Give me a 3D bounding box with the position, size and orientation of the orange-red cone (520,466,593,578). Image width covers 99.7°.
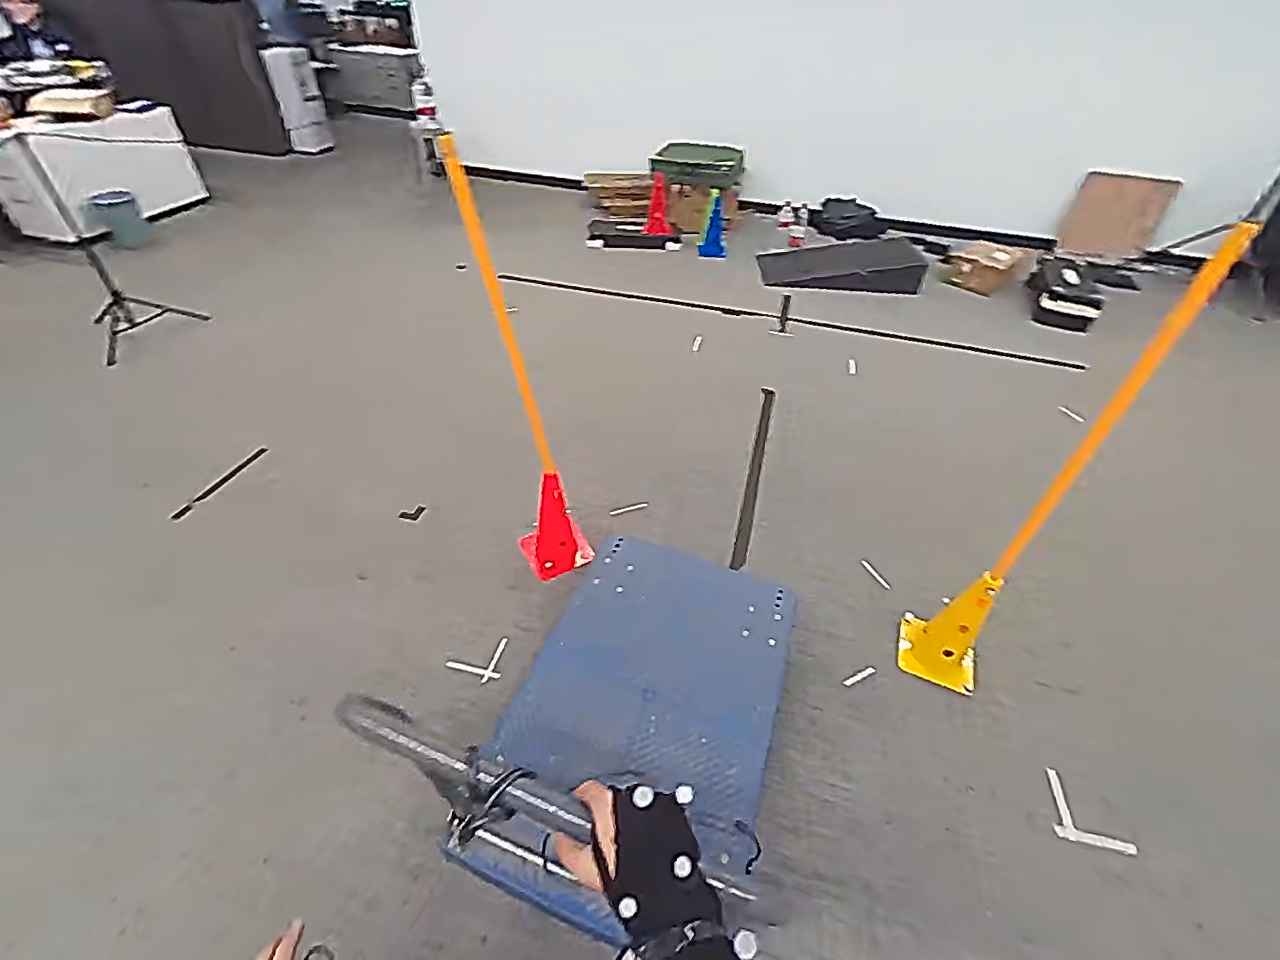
[{"bbox_3d":[-0.265,0.100,1.667,0.199,0.360,0.198,-18,48,-24],"label":"orange-red cone"}]
